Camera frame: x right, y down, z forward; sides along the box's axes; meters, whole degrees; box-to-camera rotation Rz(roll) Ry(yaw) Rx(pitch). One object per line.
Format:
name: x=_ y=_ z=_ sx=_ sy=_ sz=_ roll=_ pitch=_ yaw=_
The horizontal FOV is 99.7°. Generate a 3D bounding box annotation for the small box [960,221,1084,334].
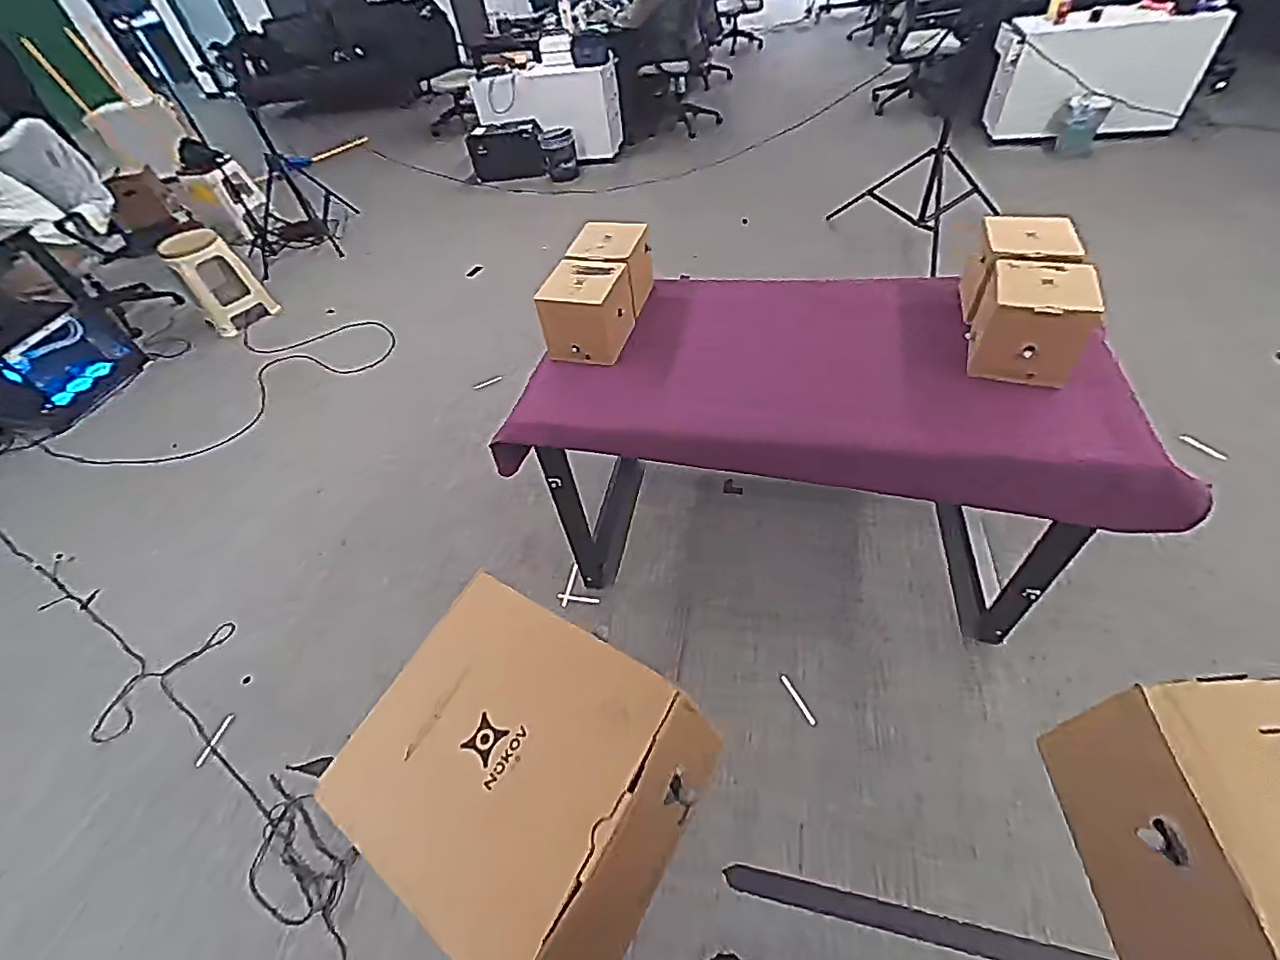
small box: x=0.822 y=-0.445 z=1.187 sx=0.168 sy=0.176 sz=0.179 roll=9 pitch=50 yaw=15

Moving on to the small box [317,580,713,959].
small box: x=-0.066 y=0.203 z=0.381 sx=0.179 sy=0.176 sz=0.168 roll=20 pitch=63 yaw=30

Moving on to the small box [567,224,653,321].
small box: x=-0.068 y=-0.536 z=1.394 sx=0.168 sy=0.176 sz=0.179 roll=9 pitch=52 yaw=16
